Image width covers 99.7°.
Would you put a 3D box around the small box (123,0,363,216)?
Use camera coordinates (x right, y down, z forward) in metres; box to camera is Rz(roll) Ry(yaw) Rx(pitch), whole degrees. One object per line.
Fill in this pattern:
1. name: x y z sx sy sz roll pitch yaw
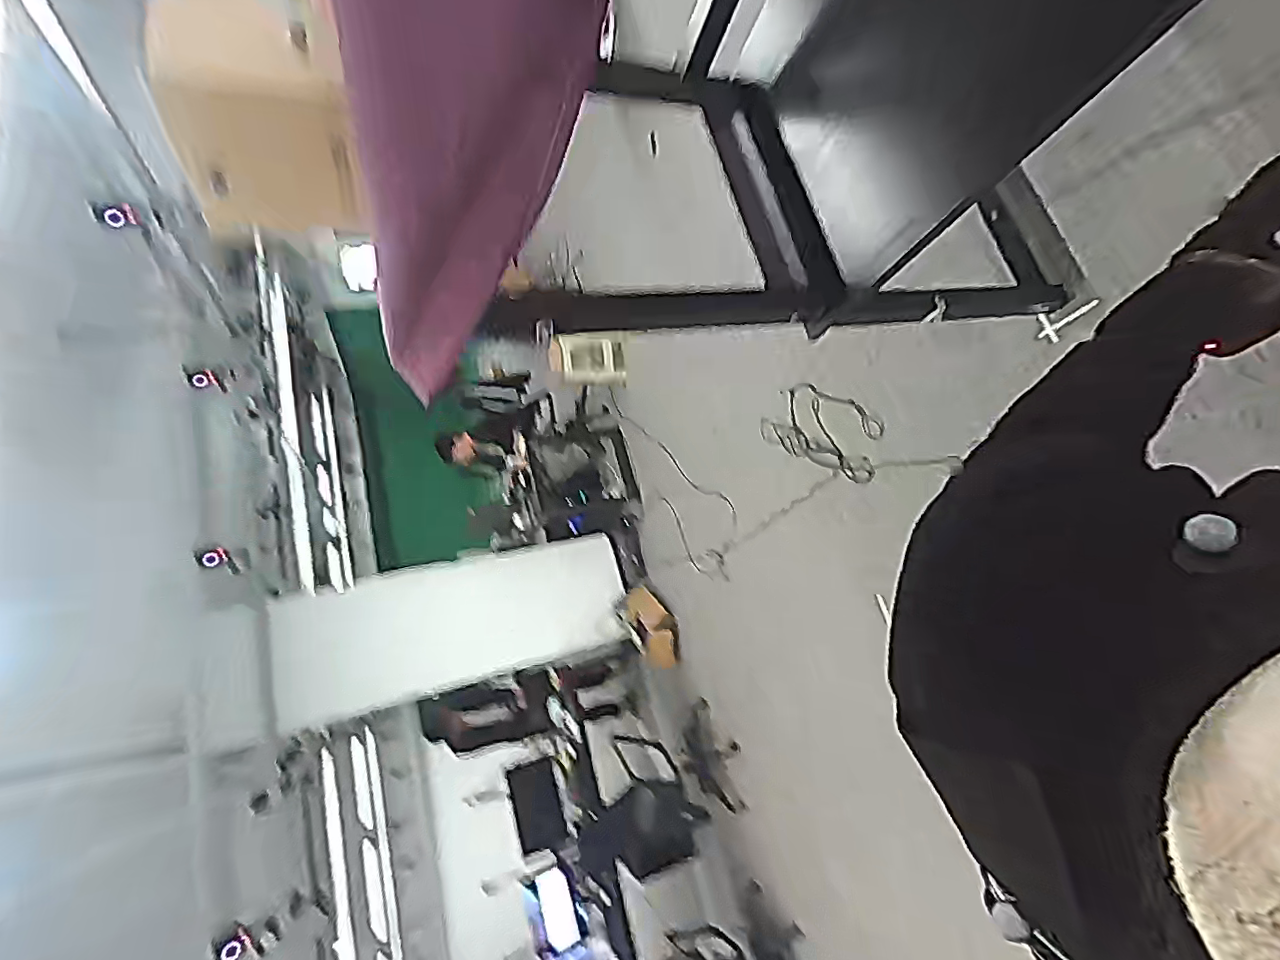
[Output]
1. small box: -0.404 -0.408 0.583 0.168 0.176 0.179 121 135 -58
